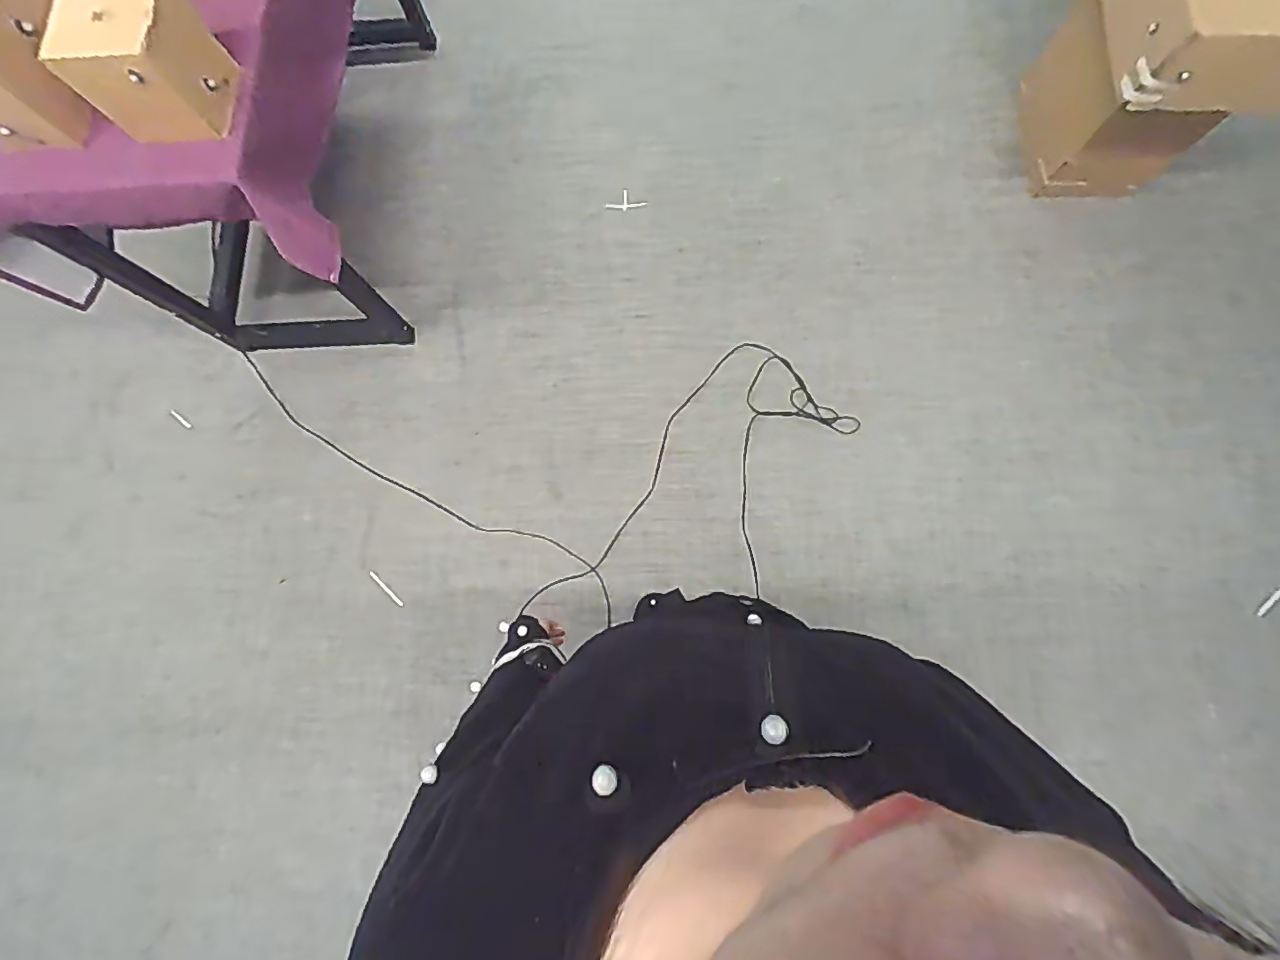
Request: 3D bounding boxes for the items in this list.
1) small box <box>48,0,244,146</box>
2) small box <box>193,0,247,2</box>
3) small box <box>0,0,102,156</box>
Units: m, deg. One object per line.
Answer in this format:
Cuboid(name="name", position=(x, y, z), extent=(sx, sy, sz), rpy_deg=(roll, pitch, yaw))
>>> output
Cuboid(name="small box", position=(-0.856, -0.724, 0.955), extent=(0.179, 0.176, 0.168), rpy_deg=(0, 78, 4))
Cuboid(name="small box", position=(-0.835, -1.049, 1.017), extent=(0.179, 0.176, 0.168), rpy_deg=(1, 79, 4))
Cuboid(name="small box", position=(-1.128, -0.721, 0.971), extent=(0.168, 0.176, 0.179), rpy_deg=(0, 78, 4))
